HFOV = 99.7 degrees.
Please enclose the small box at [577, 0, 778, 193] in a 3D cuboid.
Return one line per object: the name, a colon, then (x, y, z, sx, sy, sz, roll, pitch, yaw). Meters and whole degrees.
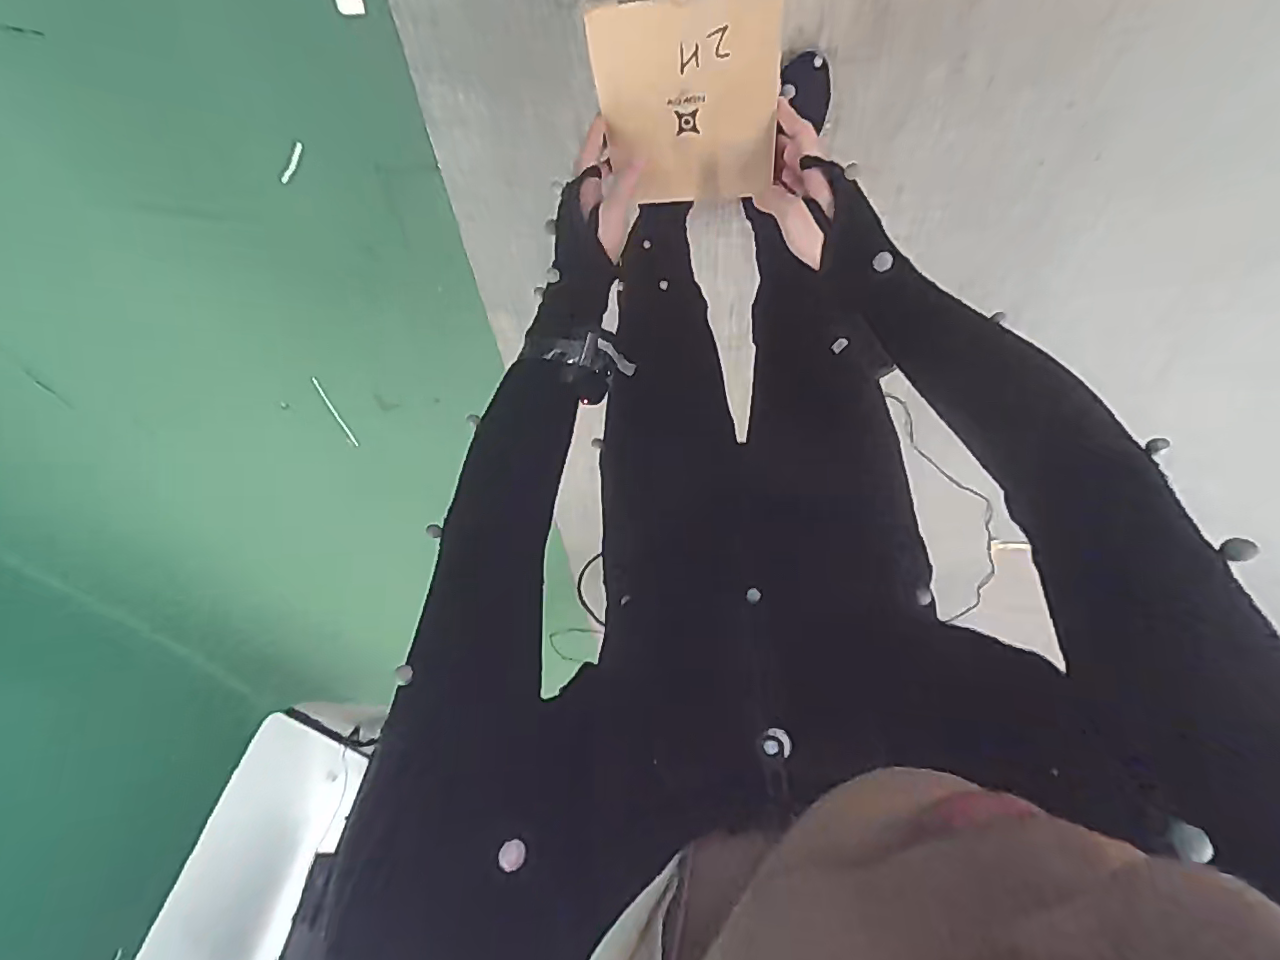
small box: (0.049, -0.420, 0.538, 0.168, 0.176, 0.179, 2, 149, 11)
